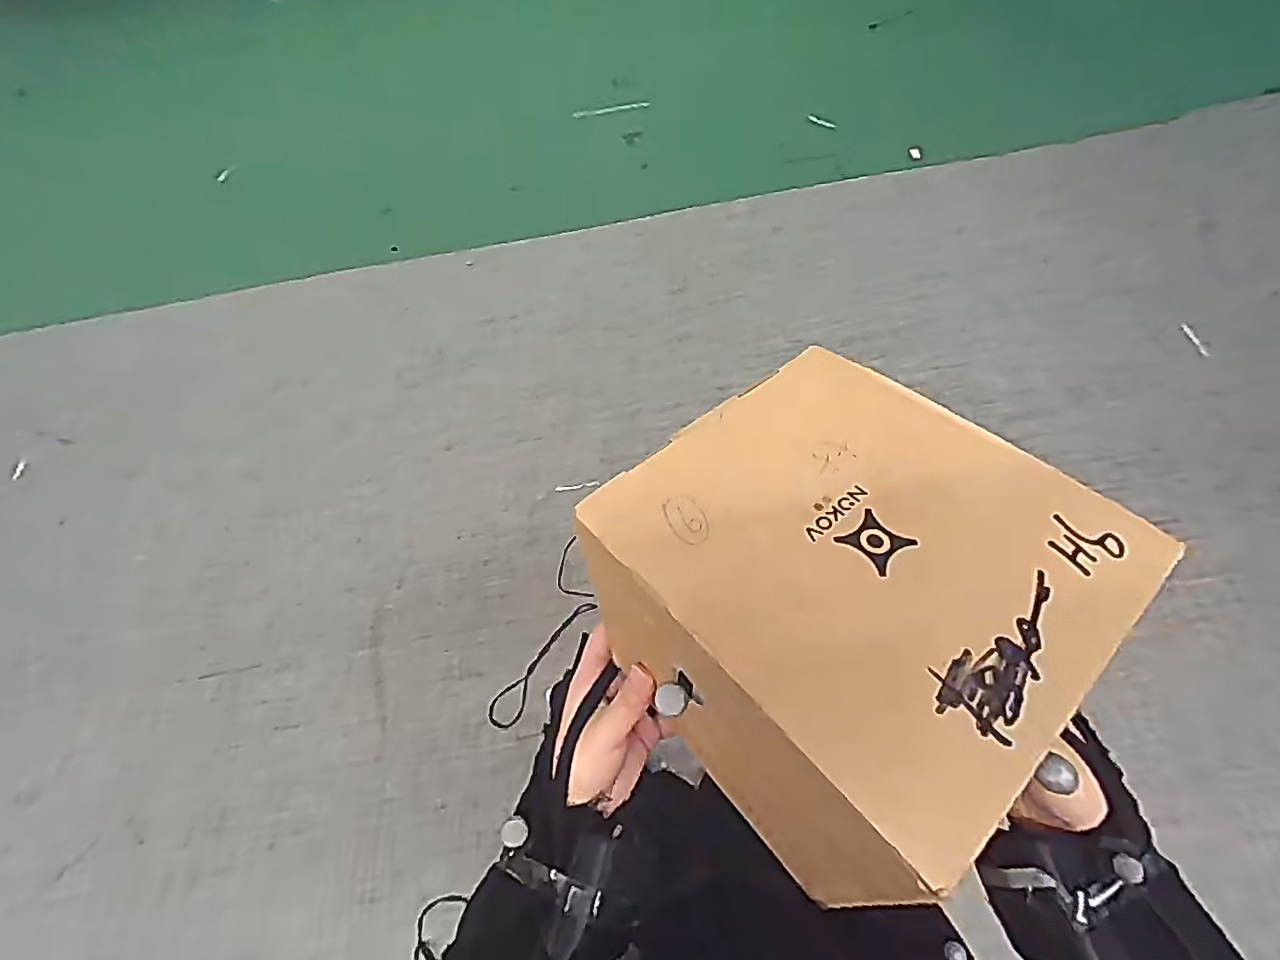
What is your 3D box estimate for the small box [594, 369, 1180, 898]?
[{"bbox_3d":[0.098,0.078,0.285,0.168,0.176,0.179,-35,56,-22],"label":"small box"}]
